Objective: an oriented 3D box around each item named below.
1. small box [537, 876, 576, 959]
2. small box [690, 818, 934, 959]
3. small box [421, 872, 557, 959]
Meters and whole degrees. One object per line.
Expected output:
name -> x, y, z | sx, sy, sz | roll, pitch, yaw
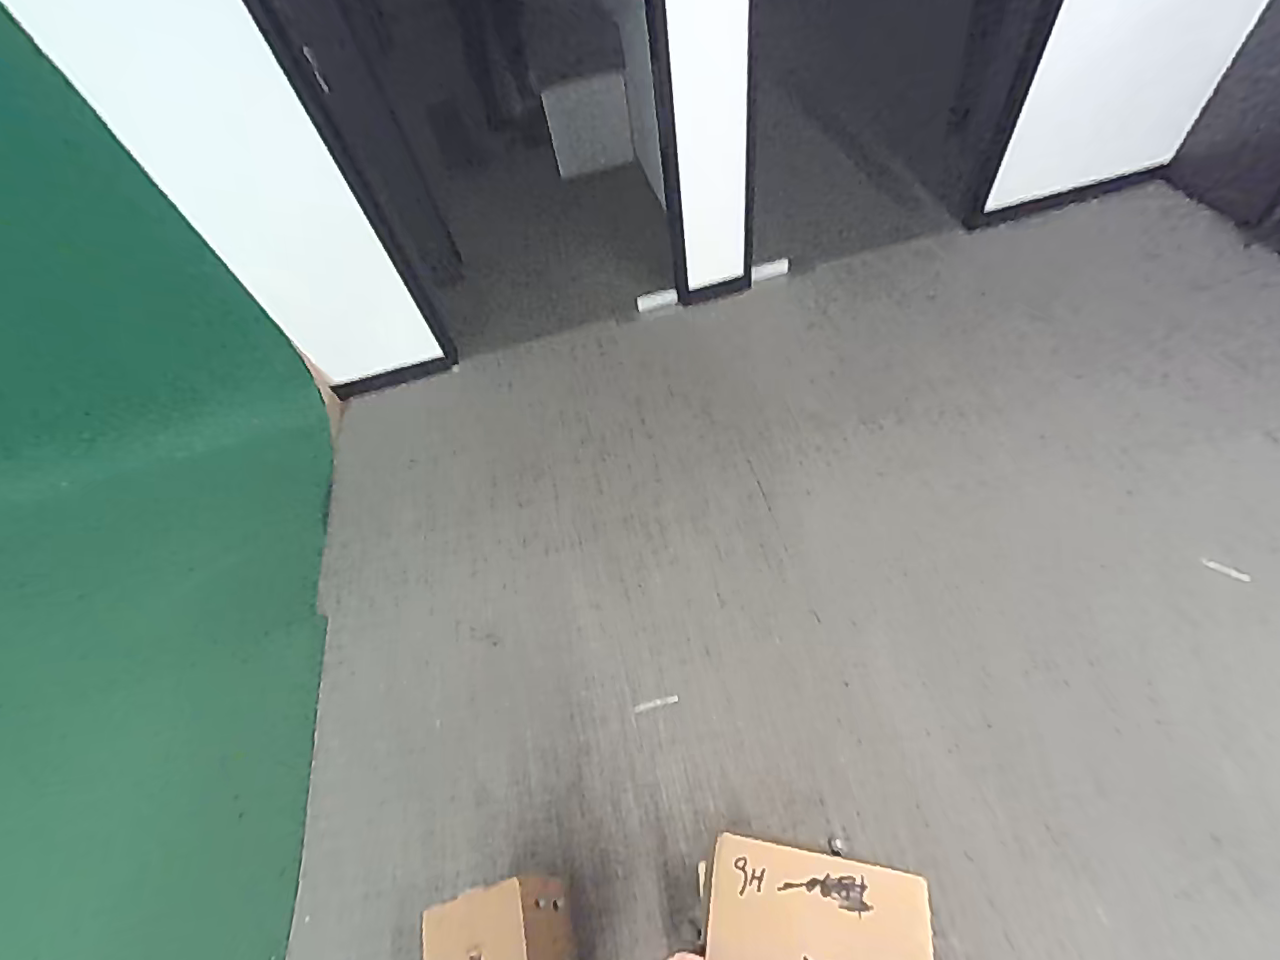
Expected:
small box -> -0.225, 0.875, 1.014 | 0.168, 0.176, 0.179 | -18, 53, -4
small box -> 0.129, 0.402, 0.451 | 0.168, 0.176, 0.179 | 8, 60, 10
small box -> -0.242, 0.774, 0.887 | 0.168, 0.176, 0.179 | -18, 54, -2
